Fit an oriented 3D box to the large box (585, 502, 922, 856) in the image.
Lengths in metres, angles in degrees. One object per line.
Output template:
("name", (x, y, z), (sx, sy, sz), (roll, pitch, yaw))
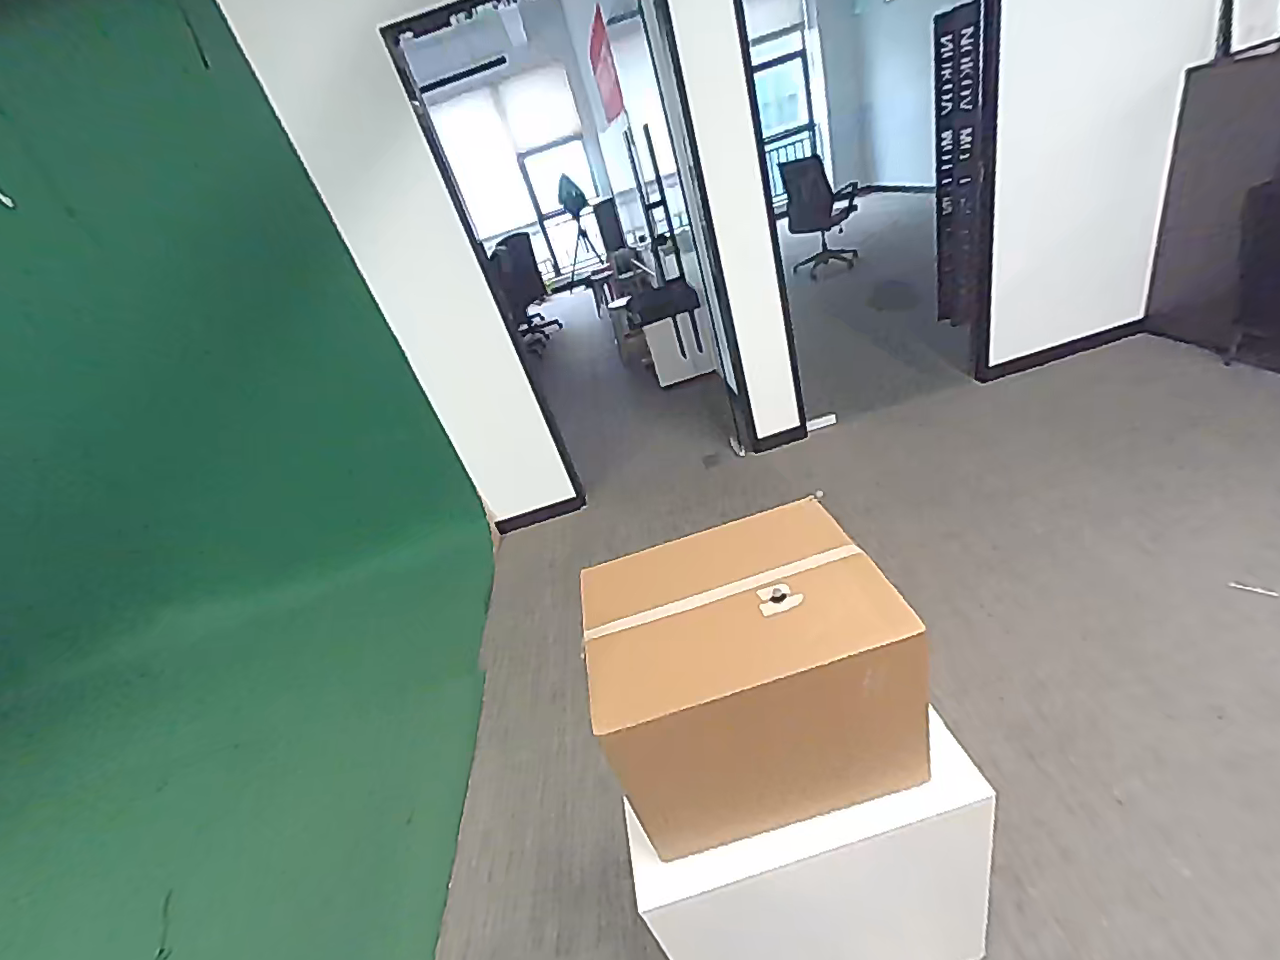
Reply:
("large box", (0.157, 0.288, 0.830), (0.408, 0.320, 0.320), (-17, 30, 0))
